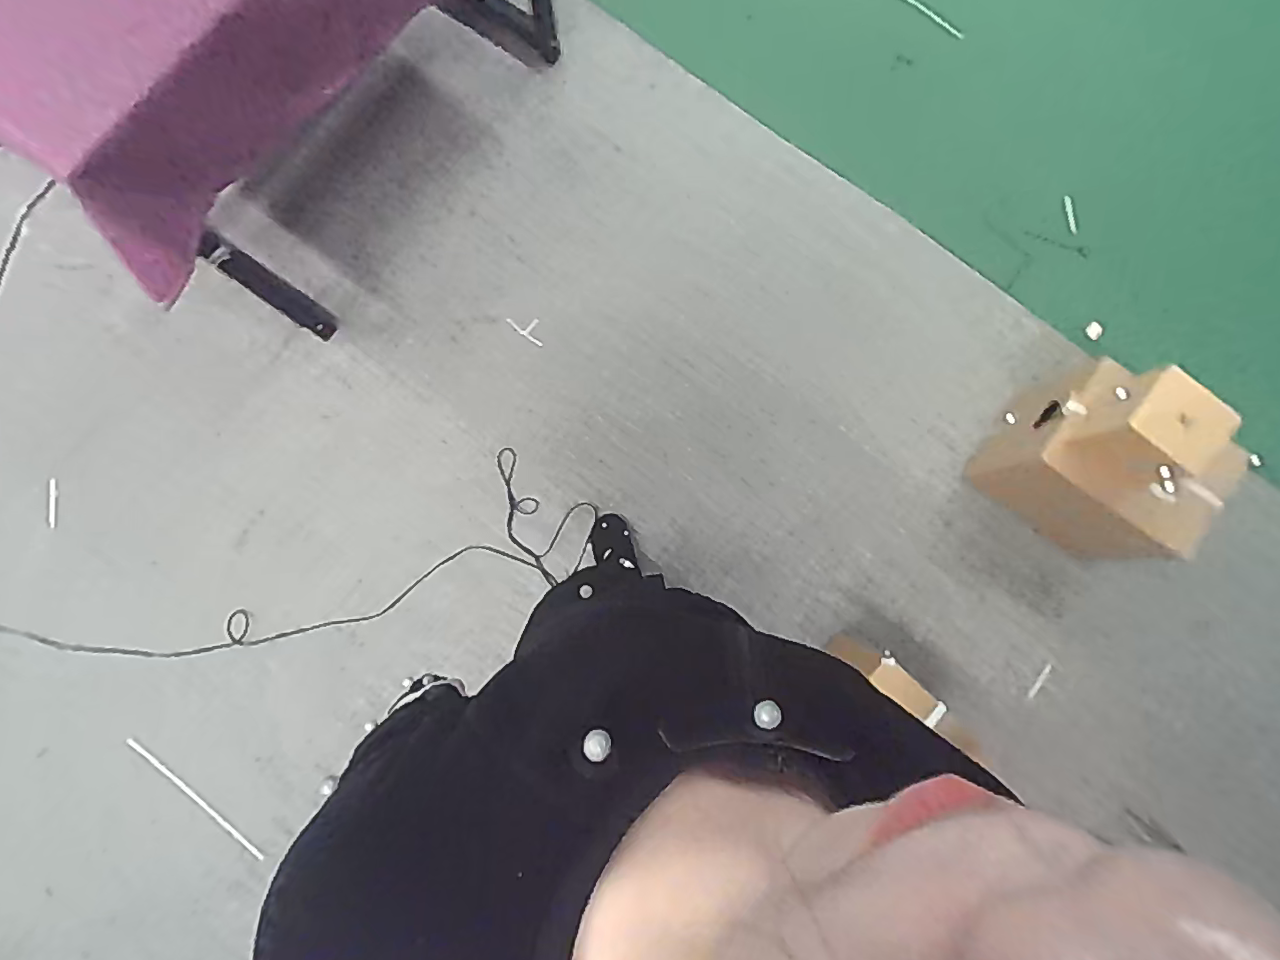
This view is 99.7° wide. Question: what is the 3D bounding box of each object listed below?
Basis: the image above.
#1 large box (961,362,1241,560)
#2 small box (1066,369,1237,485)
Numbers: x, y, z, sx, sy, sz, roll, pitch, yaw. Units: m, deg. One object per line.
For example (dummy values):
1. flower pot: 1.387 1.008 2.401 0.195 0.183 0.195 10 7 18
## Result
1. large box: 1.162 -0.031 1.407 0.408 0.320 0.320 37 83 3
2. small box: 1.089 -0.104 1.168 0.179 0.176 0.168 41 85 3
